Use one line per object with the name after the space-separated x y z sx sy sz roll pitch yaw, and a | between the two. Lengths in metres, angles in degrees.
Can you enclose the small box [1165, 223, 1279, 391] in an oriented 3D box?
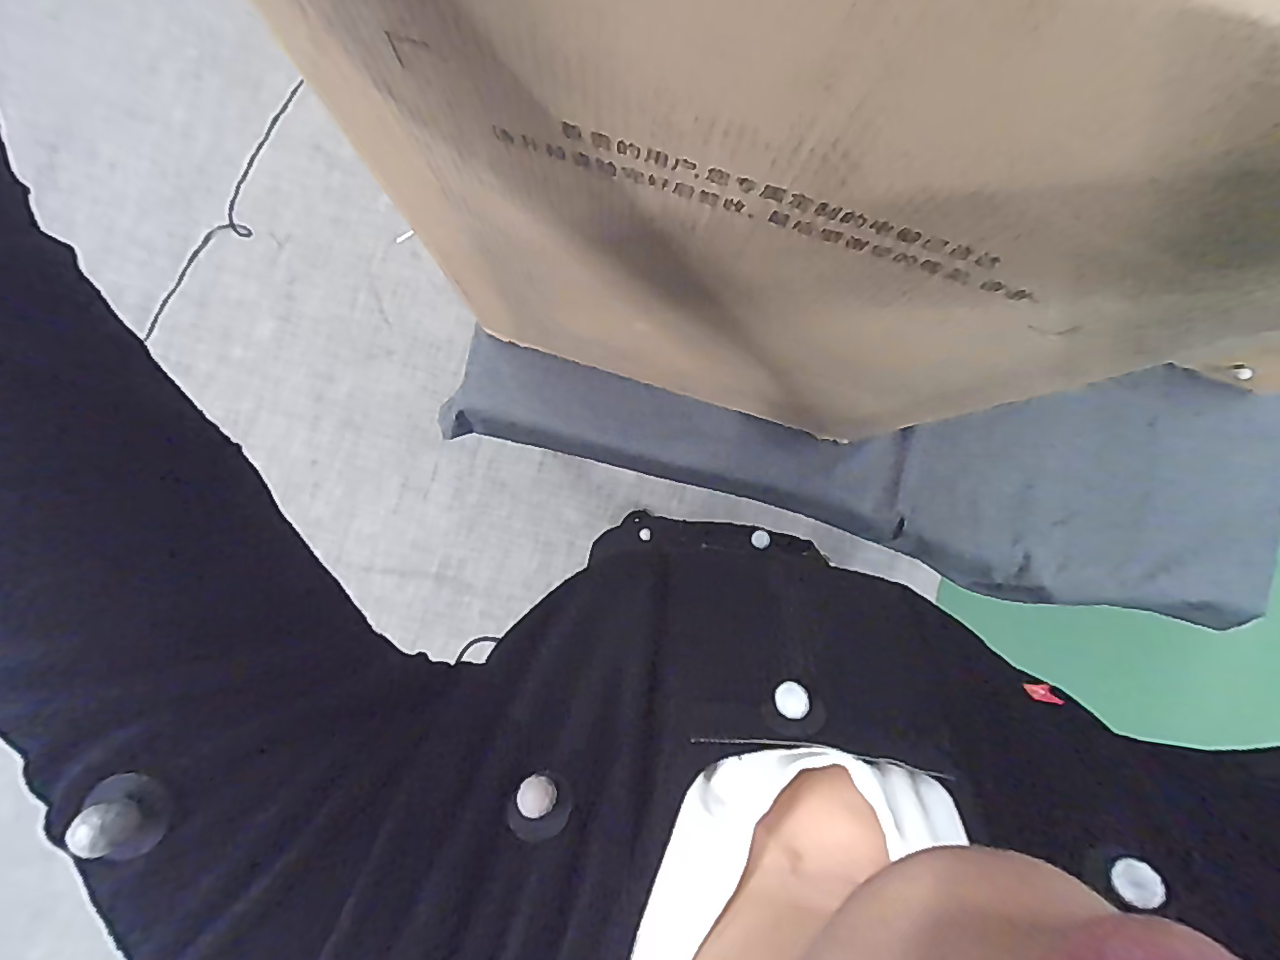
0.883 -0.239 0.736 0.168 0.176 0.179 18 88 -2 | small box
